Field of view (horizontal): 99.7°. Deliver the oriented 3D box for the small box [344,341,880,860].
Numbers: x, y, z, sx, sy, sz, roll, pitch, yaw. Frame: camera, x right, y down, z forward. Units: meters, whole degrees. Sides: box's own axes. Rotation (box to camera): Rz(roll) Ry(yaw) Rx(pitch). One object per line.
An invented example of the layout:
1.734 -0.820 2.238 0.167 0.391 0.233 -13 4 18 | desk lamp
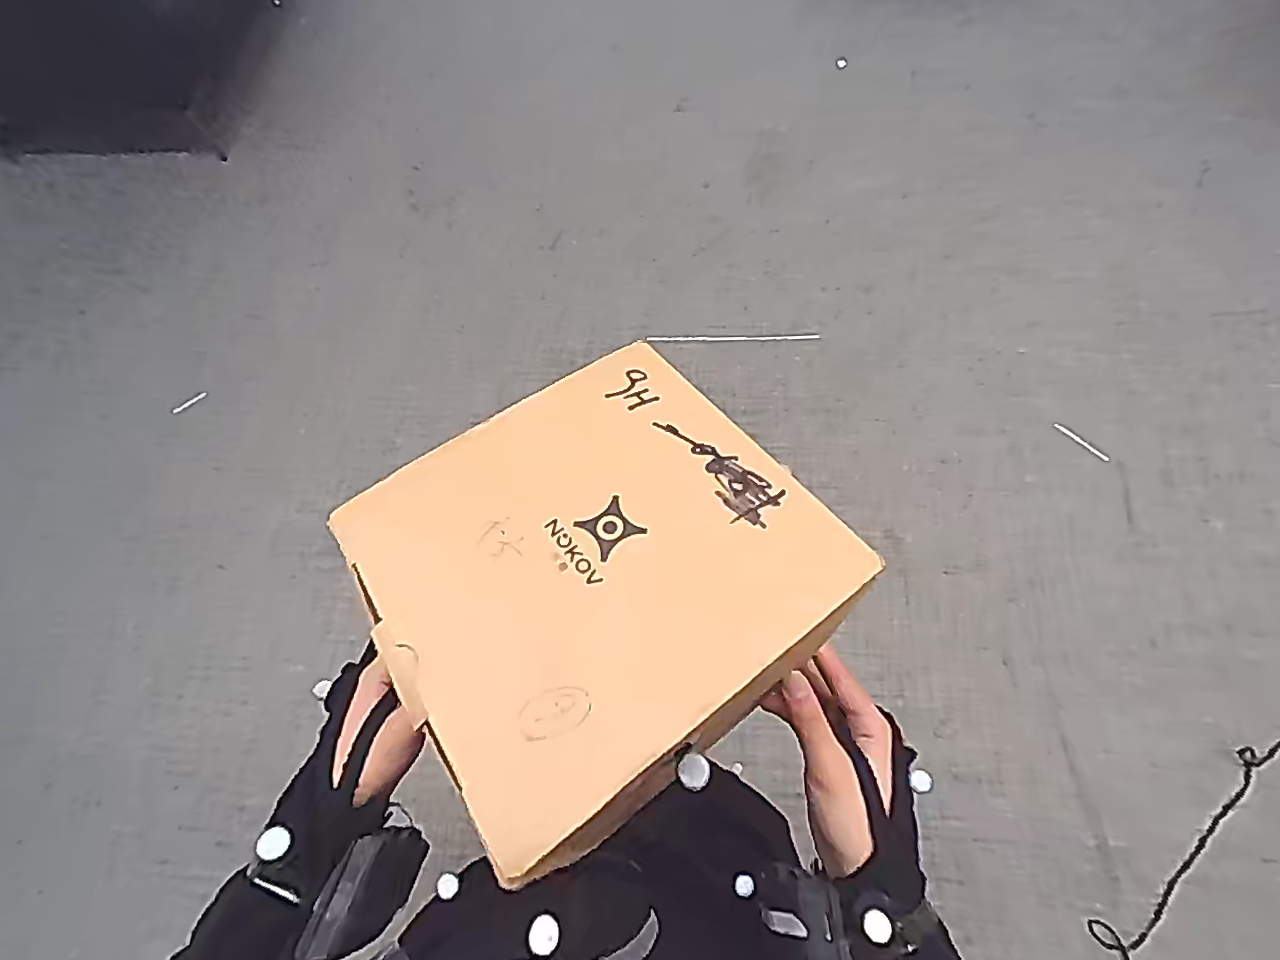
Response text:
-0.013 0.066 0.294 0.179 0.176 0.168 -33 61 -16 | small box
